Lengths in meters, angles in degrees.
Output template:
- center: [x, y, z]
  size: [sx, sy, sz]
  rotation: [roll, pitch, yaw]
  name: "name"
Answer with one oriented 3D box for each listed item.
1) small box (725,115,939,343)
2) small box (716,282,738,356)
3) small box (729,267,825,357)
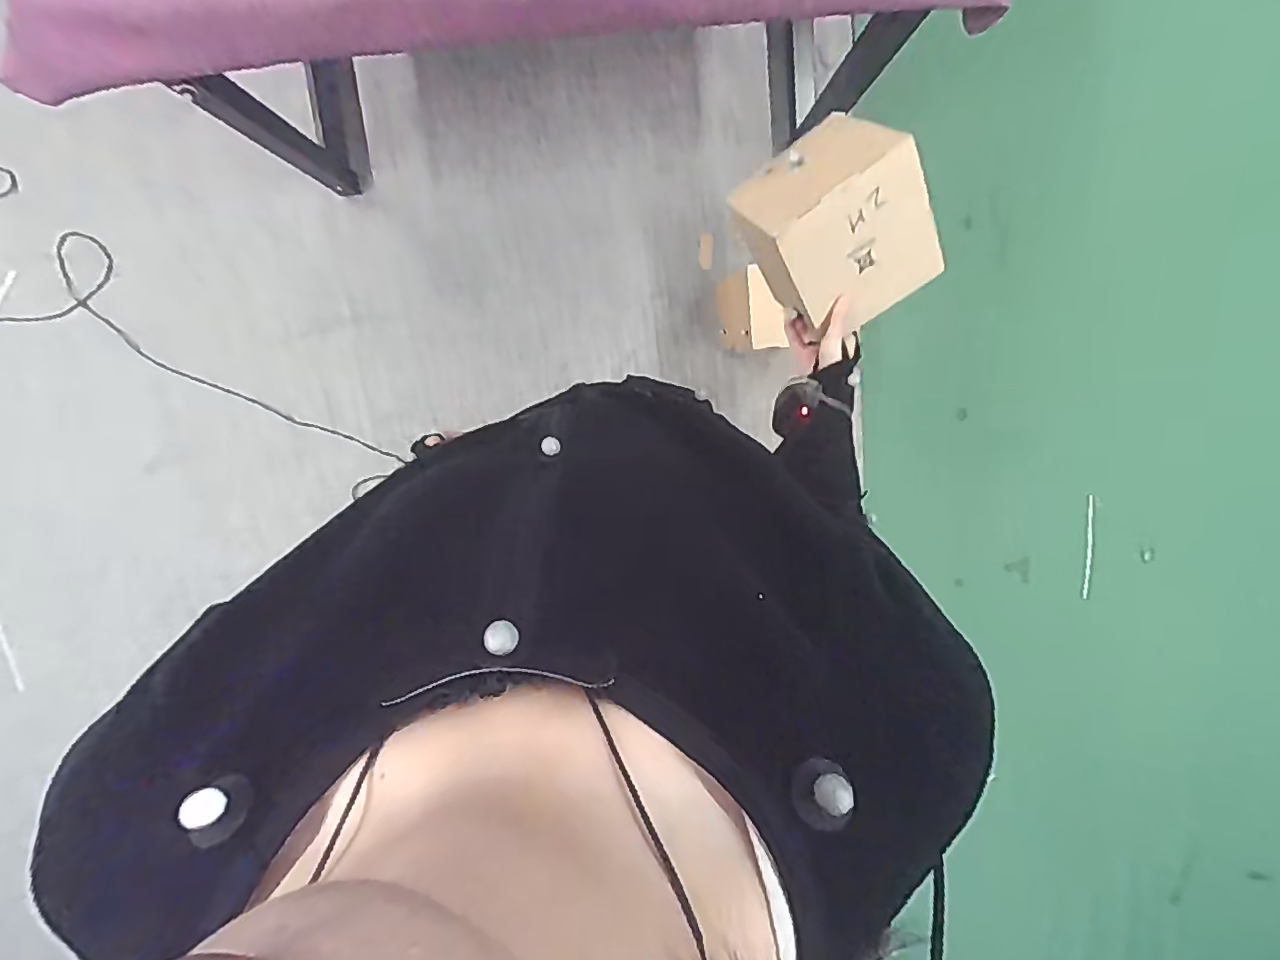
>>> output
- center: [0.234, -0.314, 0.676]
  size: [0.168, 0.176, 0.179]
  rotation: [-34, 131, 13]
  name: "small box"
- center: [0.289, -0.405, 1.367]
  size: [0.179, 0.176, 0.168]
  rotation: [-4, 101, -1]
  name: "small box"
- center: [0.300, -0.374, 1.209]
  size: [0.168, 0.176, 0.179]
  rotation: [-7, 102, -1]
  name: "small box"
